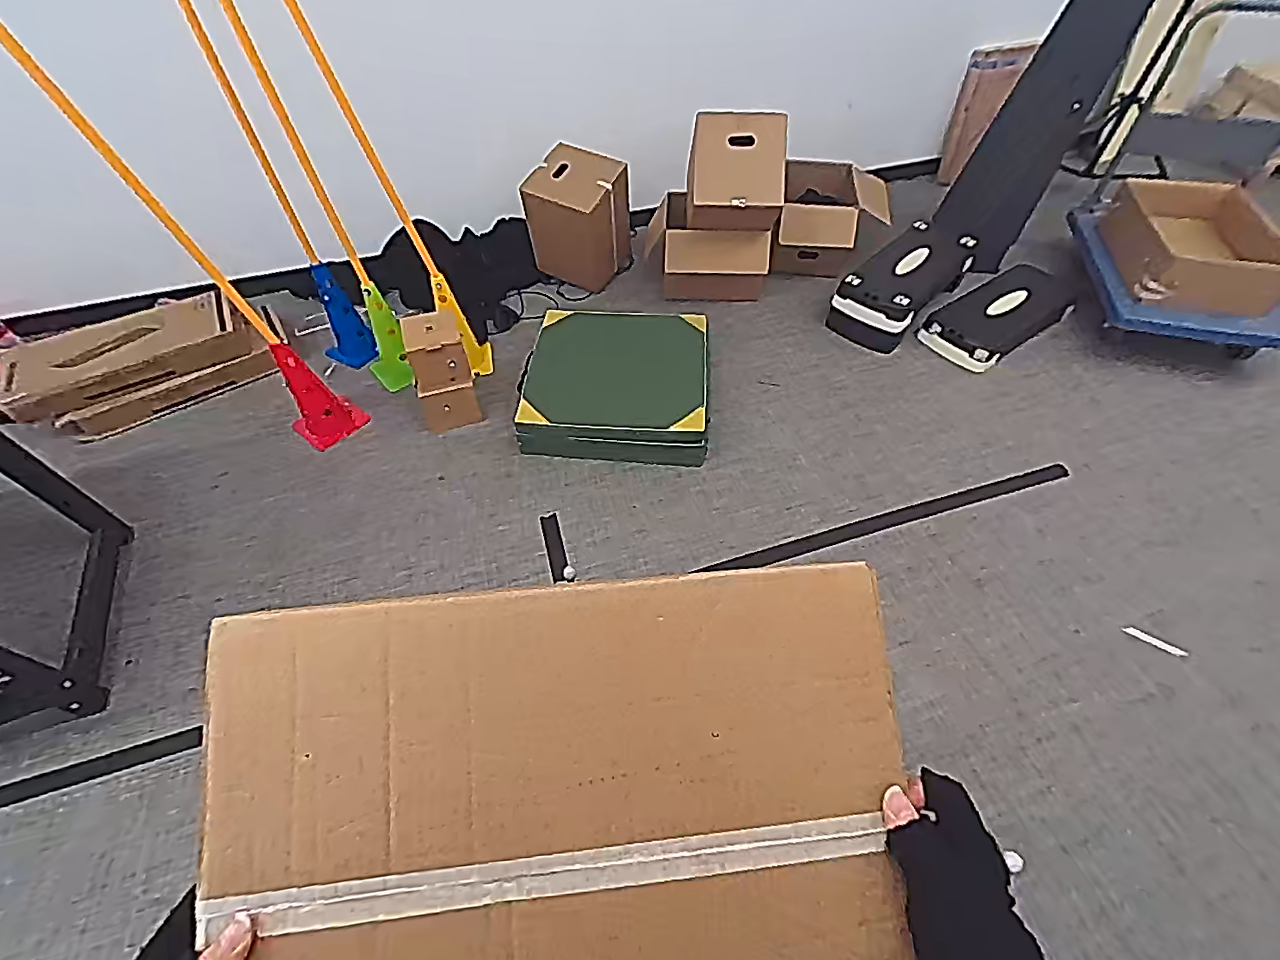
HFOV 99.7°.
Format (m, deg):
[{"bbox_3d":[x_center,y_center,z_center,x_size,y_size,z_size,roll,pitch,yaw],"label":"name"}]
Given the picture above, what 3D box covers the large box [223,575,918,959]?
[{"bbox_3d":[-0.045,0.258,0.467,0.408,0.320,0.320,-4,80,-5],"label":"large box"}]
